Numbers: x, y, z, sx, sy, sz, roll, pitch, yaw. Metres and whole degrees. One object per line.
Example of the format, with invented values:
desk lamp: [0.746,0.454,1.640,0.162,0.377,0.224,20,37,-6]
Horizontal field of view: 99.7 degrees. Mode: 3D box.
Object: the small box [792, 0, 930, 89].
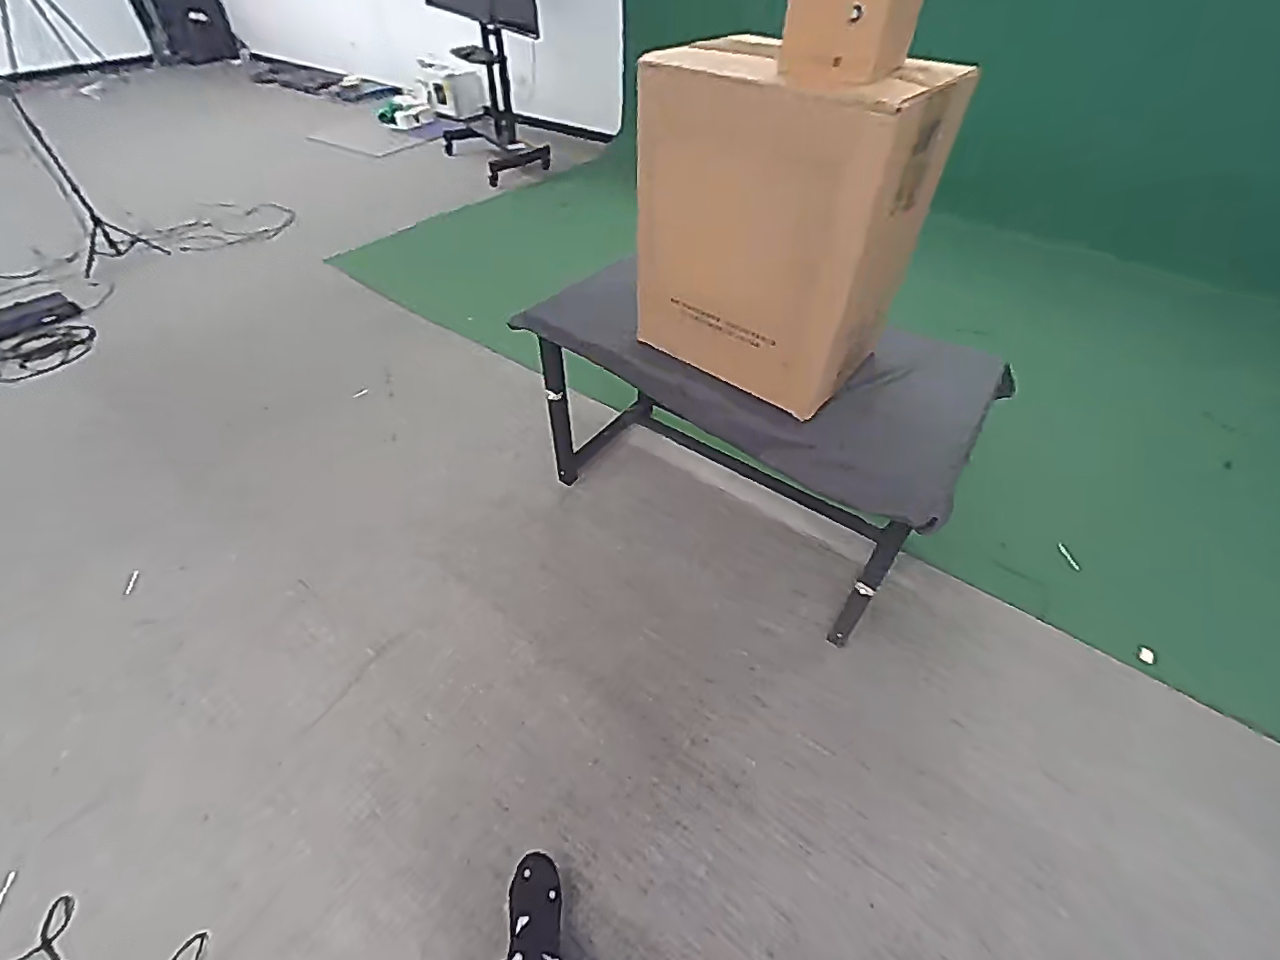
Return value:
small box: [0.370,-0.771,0.893,0.168,0.176,0.179,31,54,21]
